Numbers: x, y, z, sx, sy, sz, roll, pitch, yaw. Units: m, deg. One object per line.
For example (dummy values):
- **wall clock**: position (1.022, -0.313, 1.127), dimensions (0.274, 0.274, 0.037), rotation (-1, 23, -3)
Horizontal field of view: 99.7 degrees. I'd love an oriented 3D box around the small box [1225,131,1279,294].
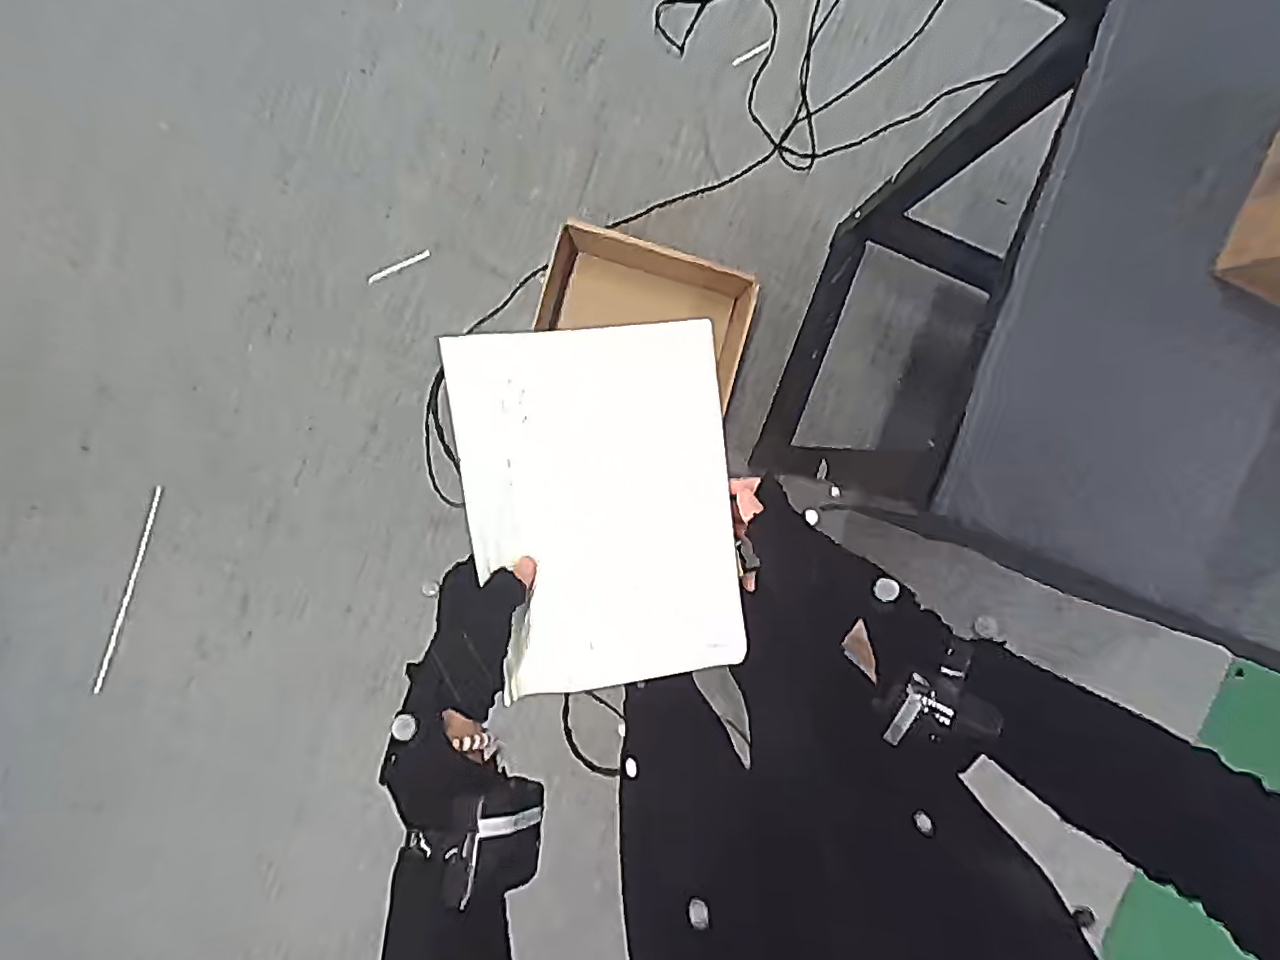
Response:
- **small box**: position (0.652, -0.239, 0.435), dimensions (0.168, 0.176, 0.179), rotation (22, 94, -6)
